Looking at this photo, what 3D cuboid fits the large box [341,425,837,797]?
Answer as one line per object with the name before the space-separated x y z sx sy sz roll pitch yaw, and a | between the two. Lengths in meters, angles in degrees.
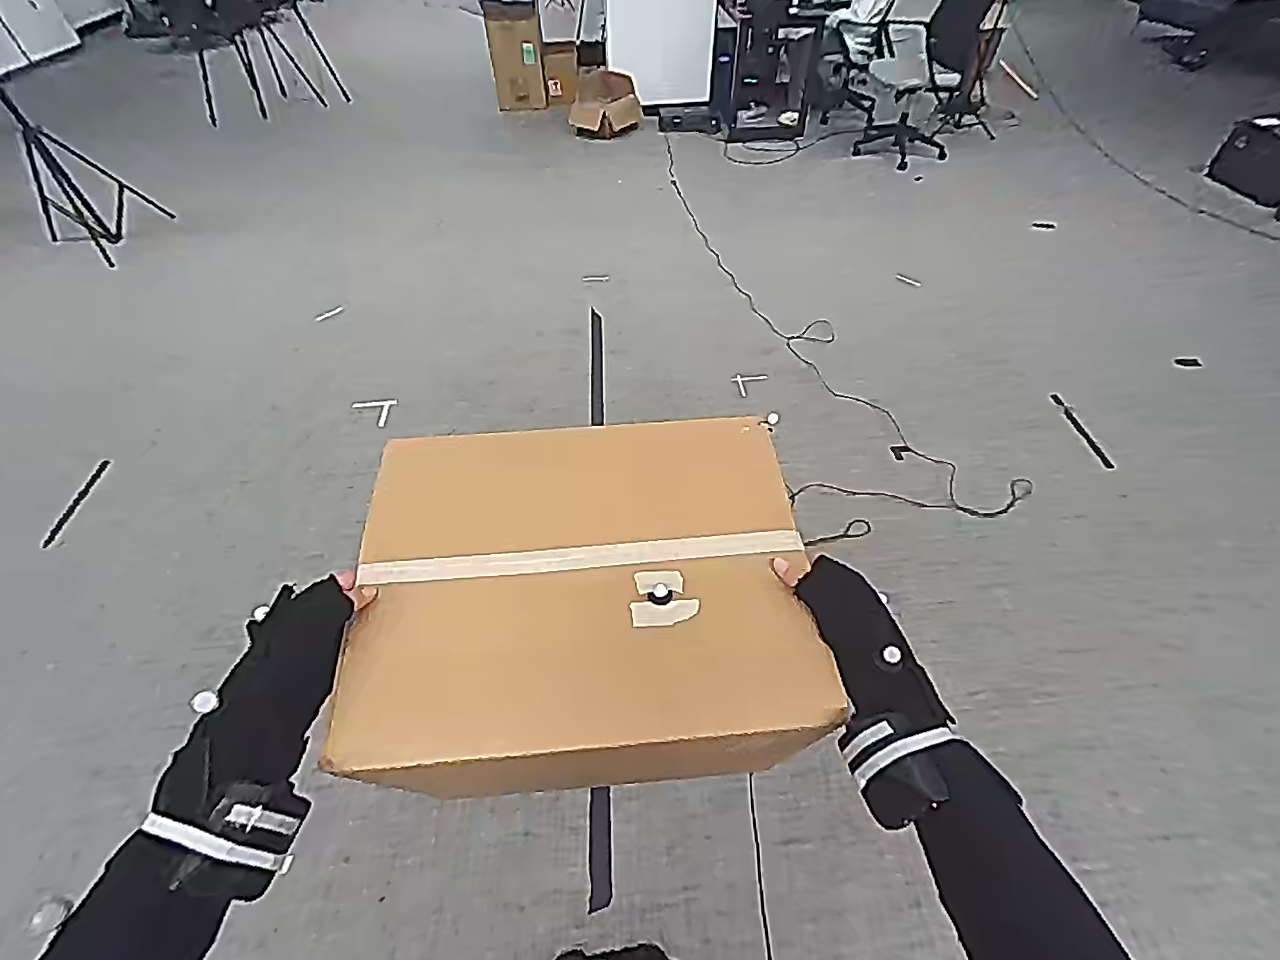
large box | -0.051 0.161 0.631 0.408 0.320 0.320 -4 56 -3
